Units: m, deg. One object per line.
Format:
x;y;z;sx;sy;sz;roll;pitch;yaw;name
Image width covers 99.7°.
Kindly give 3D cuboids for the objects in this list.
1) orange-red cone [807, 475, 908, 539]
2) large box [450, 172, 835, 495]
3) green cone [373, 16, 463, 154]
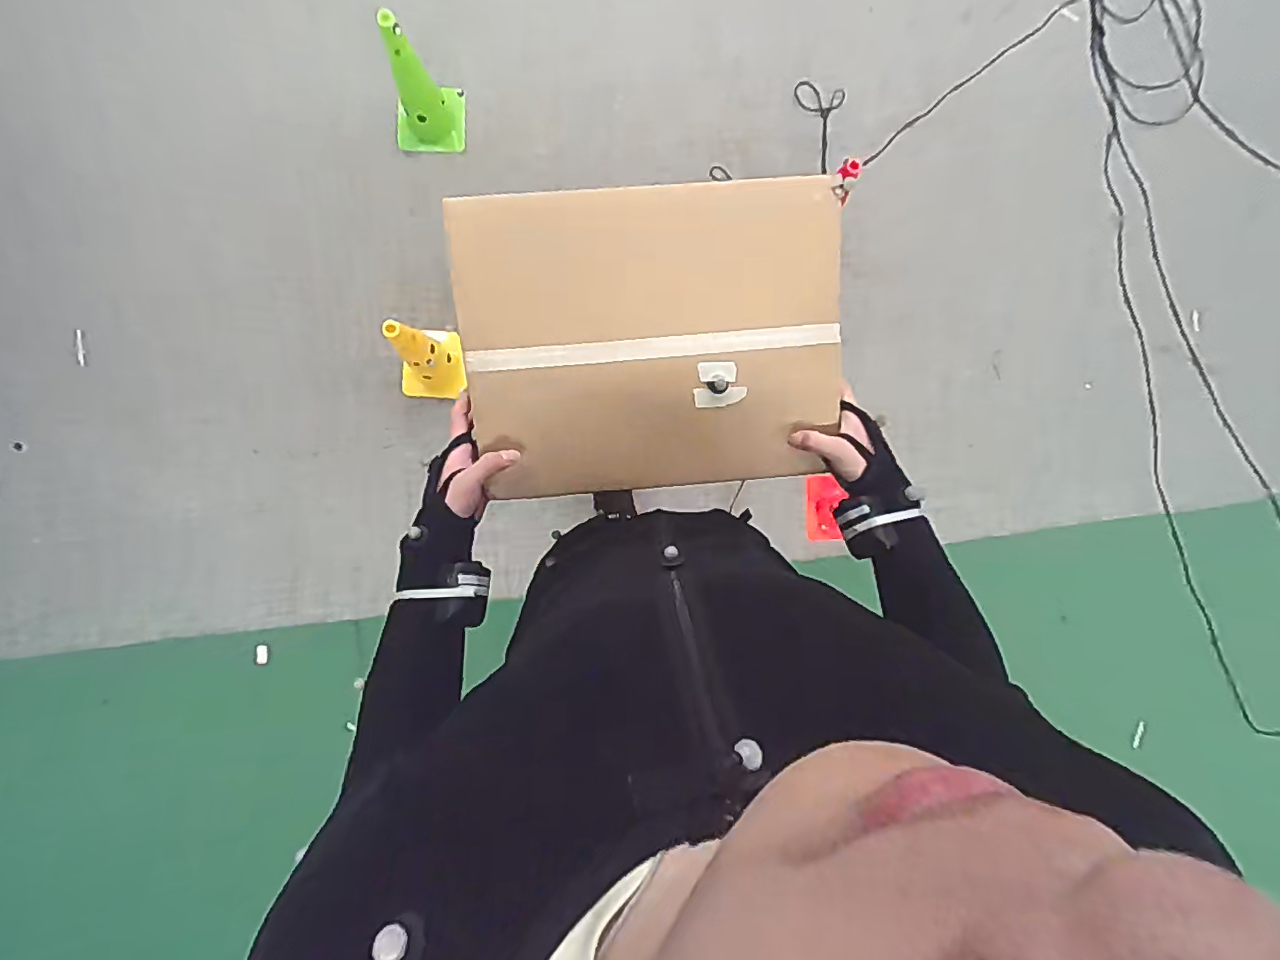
0.631;0.080;1.502;0.199;0.360;0.198;0;89;-5;orange-red cone
0.006;-0.186;0.732;0.408;0.320;0.320;-6;105;-3;large box
-0.631;-1.093;1.468;0.200;0.368;0.202;-1;90;-3;green cone
